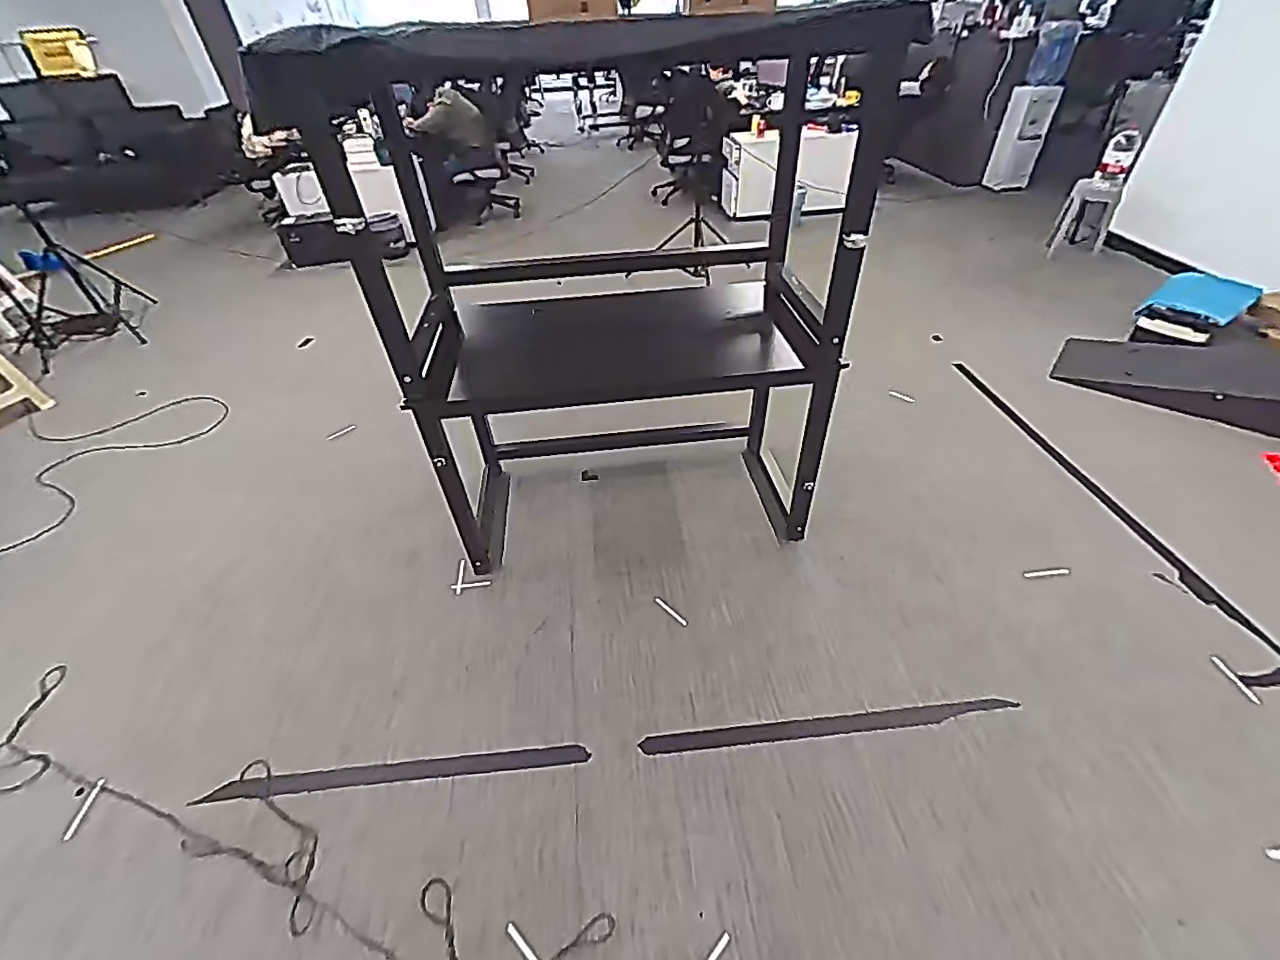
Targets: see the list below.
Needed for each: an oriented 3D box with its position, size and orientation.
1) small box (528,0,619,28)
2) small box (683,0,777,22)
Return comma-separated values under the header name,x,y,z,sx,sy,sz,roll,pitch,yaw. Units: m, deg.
name,x,y,z,sx,sy,sz,roll,pitch,yaw
small box,-0.130,-0.952,1.002,0.168,0.176,0.179,-6,39,-2
small box,0.168,-0.983,1.019,0.168,0.176,0.179,-3,40,1
